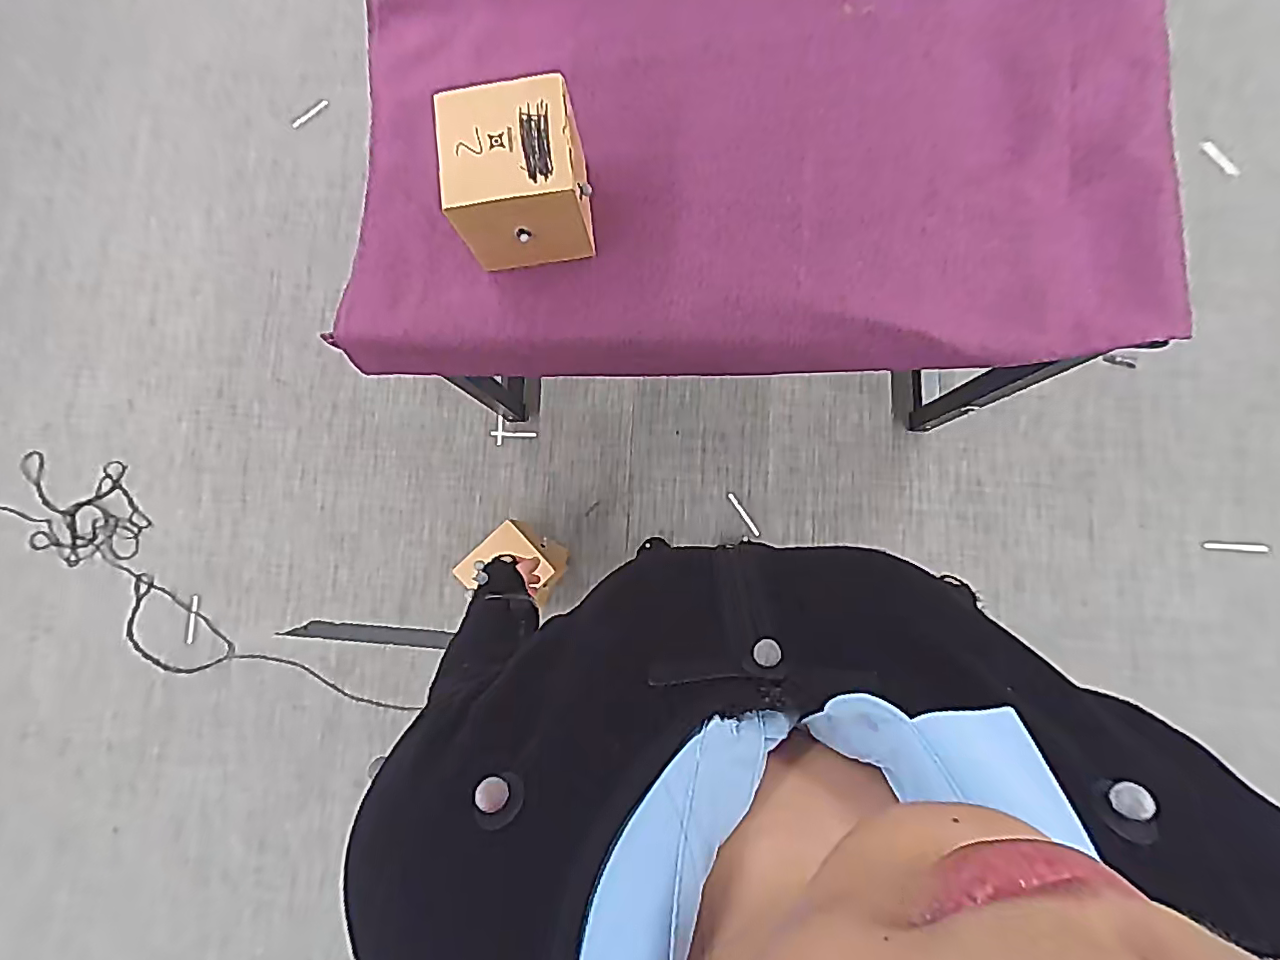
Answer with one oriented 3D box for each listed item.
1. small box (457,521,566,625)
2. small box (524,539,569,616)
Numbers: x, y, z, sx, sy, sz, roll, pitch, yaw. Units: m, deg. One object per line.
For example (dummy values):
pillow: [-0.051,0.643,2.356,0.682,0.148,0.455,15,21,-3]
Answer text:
small box: [-0.294,0.216,1.289,0.179,0.176,0.168,-43,82,-2]
small box: [-0.306,0.242,1.453,0.168,0.176,0.179,25,86,6]
